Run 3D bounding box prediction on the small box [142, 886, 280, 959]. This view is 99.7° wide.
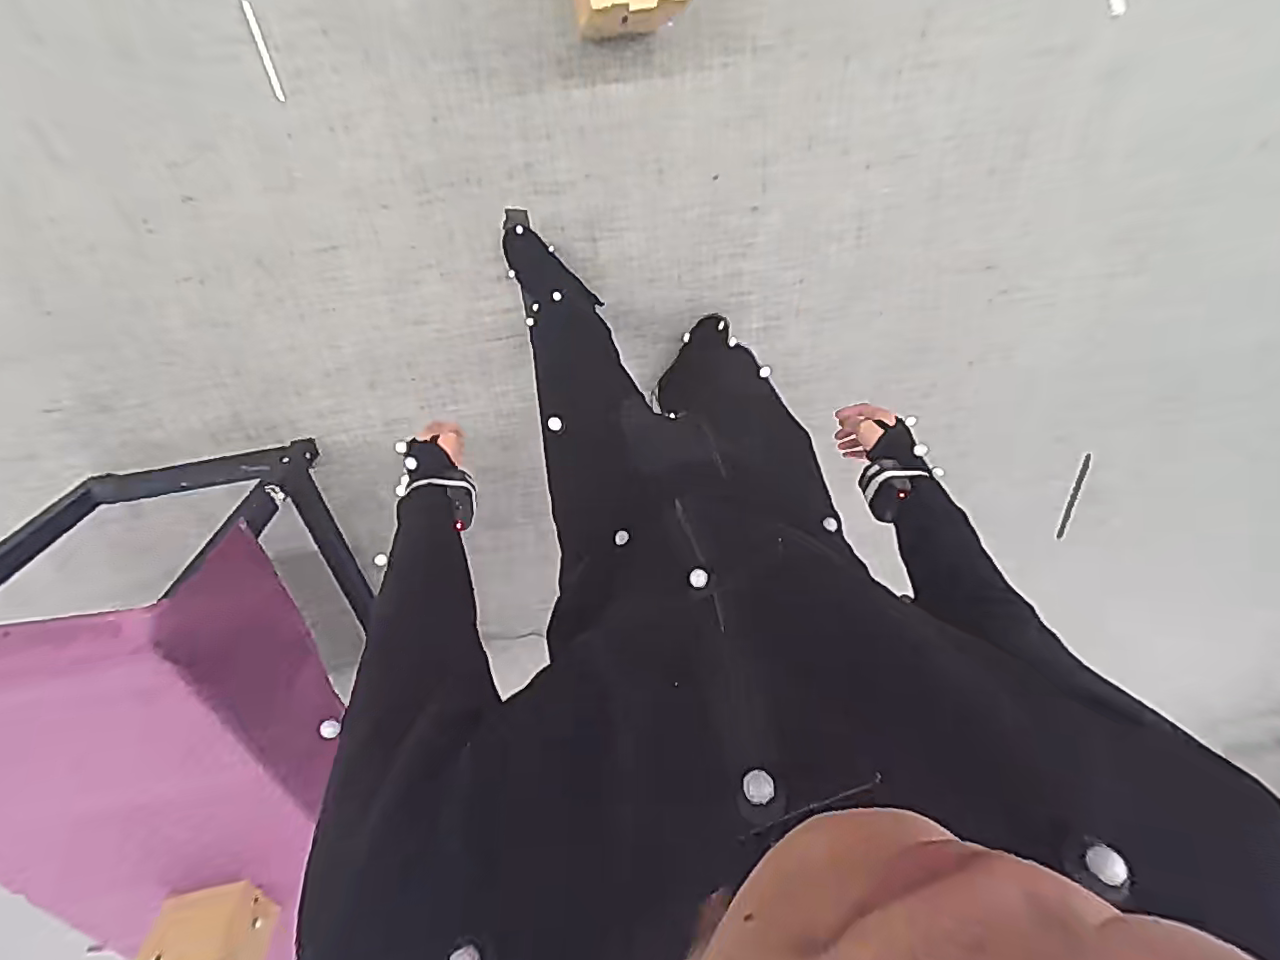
[{"bbox_3d":[-0.931,1.020,1.167,0.179,0.176,0.168,-11,123,-4],"label":"small box"}]

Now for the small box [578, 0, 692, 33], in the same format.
[{"bbox_3d":[-0.020,-0.853,0.869,0.168,0.176,0.179,-11,122,-5],"label":"small box"}]
